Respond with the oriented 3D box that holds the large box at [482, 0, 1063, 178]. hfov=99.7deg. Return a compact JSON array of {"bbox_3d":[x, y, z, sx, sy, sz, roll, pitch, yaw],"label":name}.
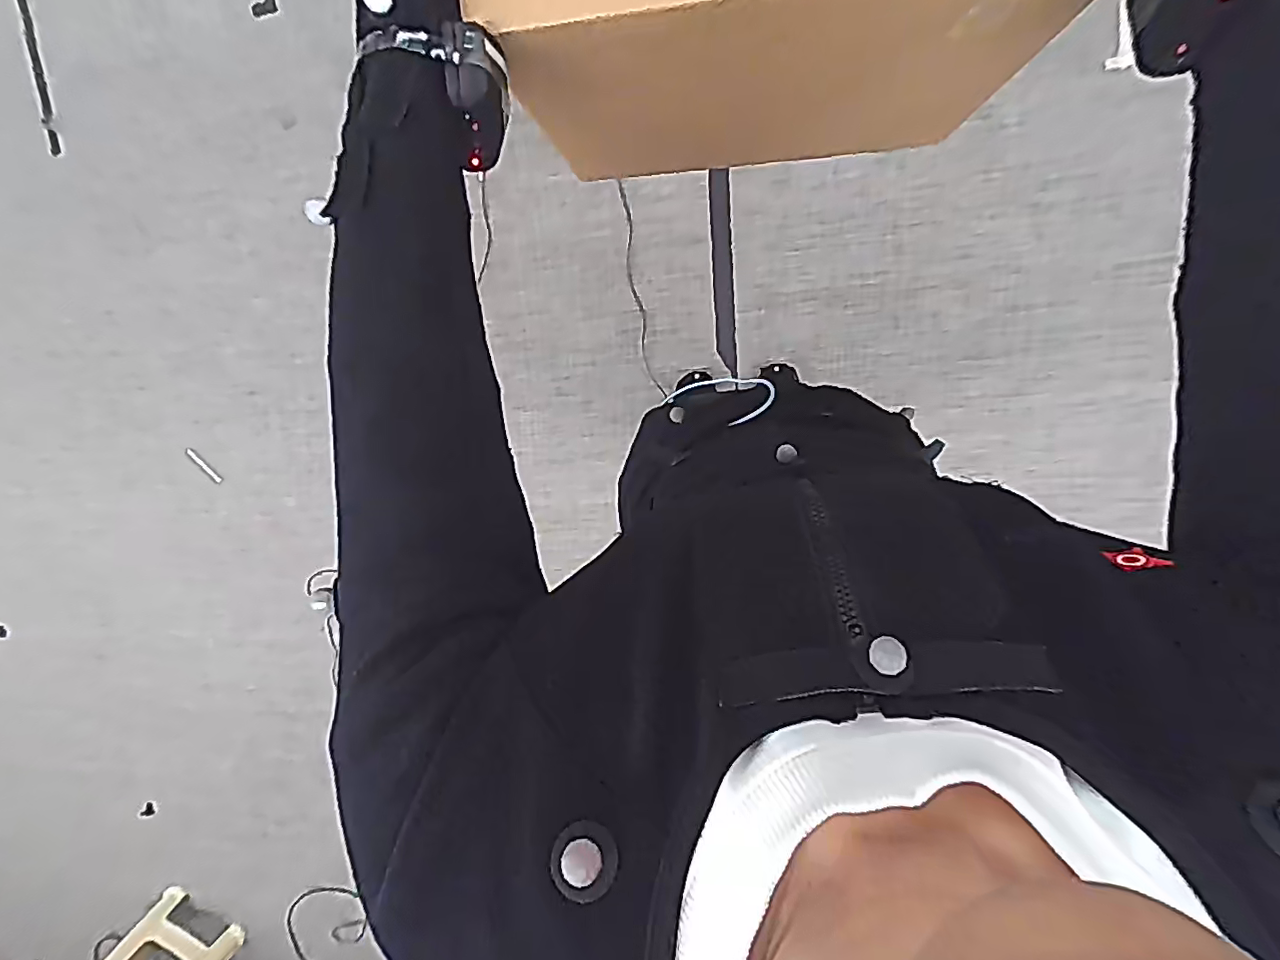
[{"bbox_3d":[0.097,-0.482,0.440,0.408,0.320,0.320,-2,103,7],"label":"large box"}]
